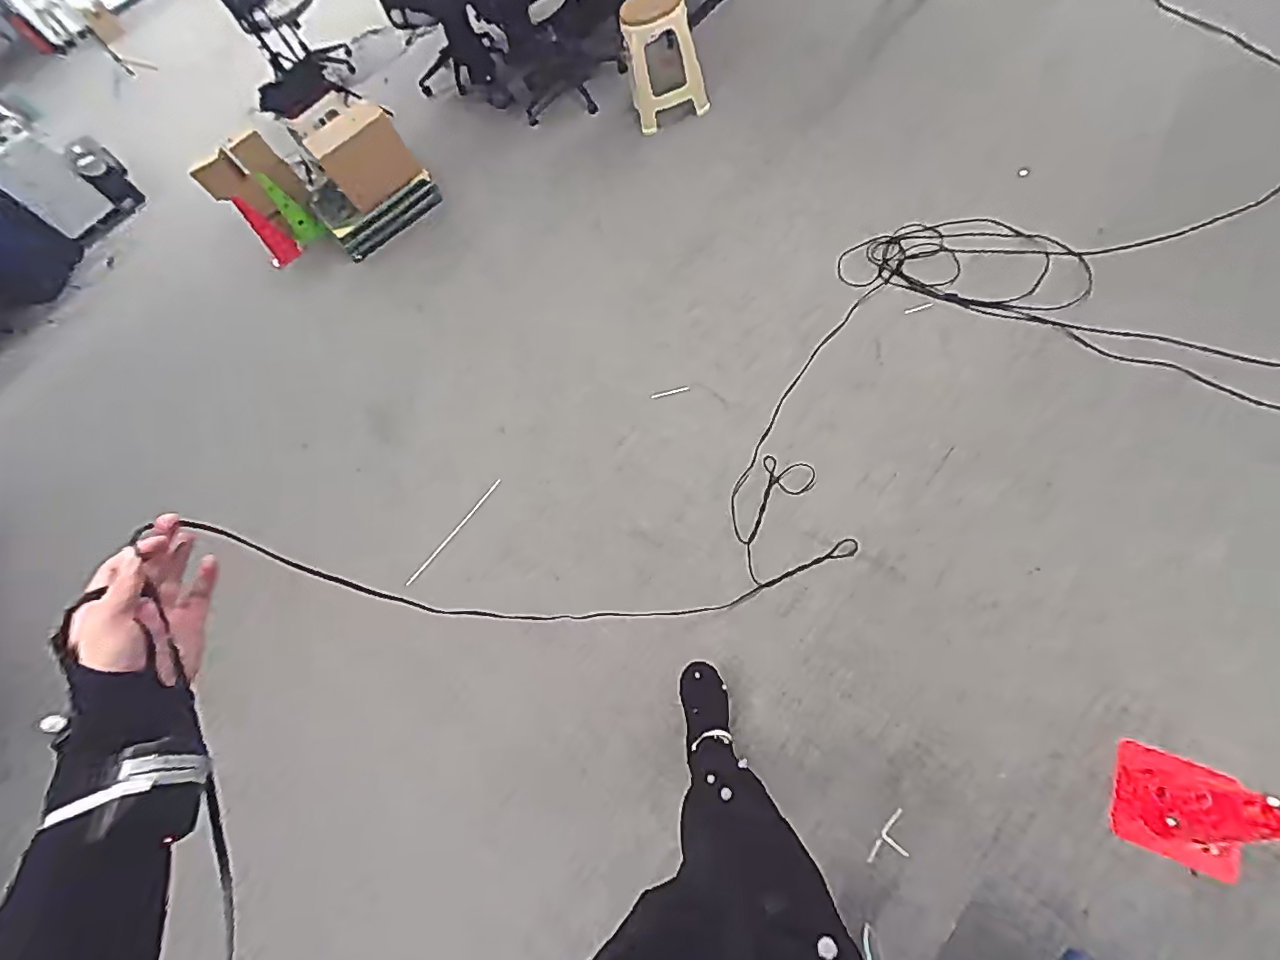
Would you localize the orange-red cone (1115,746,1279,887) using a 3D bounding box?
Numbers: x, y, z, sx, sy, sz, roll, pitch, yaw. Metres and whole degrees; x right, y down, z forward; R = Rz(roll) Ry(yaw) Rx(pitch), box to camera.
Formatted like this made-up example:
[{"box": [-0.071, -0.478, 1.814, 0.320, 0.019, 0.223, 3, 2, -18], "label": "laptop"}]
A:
[{"box": [1.050, 0.593, 0.950, 0.198, 0.360, 0.199, 18, 68, 24], "label": "orange-red cone"}]
